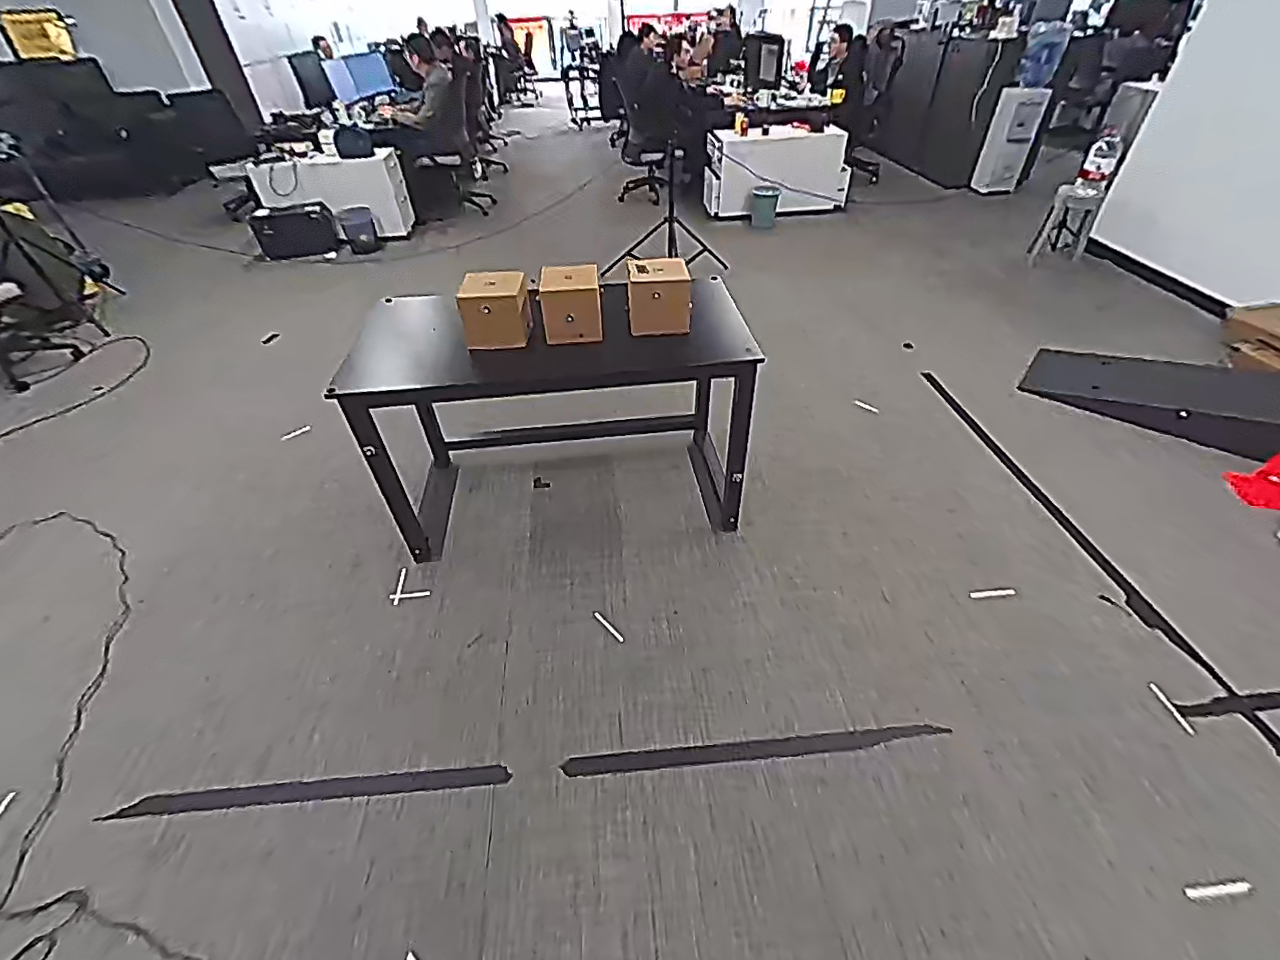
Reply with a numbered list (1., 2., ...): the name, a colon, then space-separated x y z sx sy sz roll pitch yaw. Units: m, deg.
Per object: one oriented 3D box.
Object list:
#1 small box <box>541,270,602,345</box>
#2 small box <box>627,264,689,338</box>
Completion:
1. small box: -0.203 -0.519 1.641 0.168 0.176 0.179 -4 42 -3
2. small box: 0.055 -0.549 1.662 0.179 0.176 0.168 -4 42 -2
